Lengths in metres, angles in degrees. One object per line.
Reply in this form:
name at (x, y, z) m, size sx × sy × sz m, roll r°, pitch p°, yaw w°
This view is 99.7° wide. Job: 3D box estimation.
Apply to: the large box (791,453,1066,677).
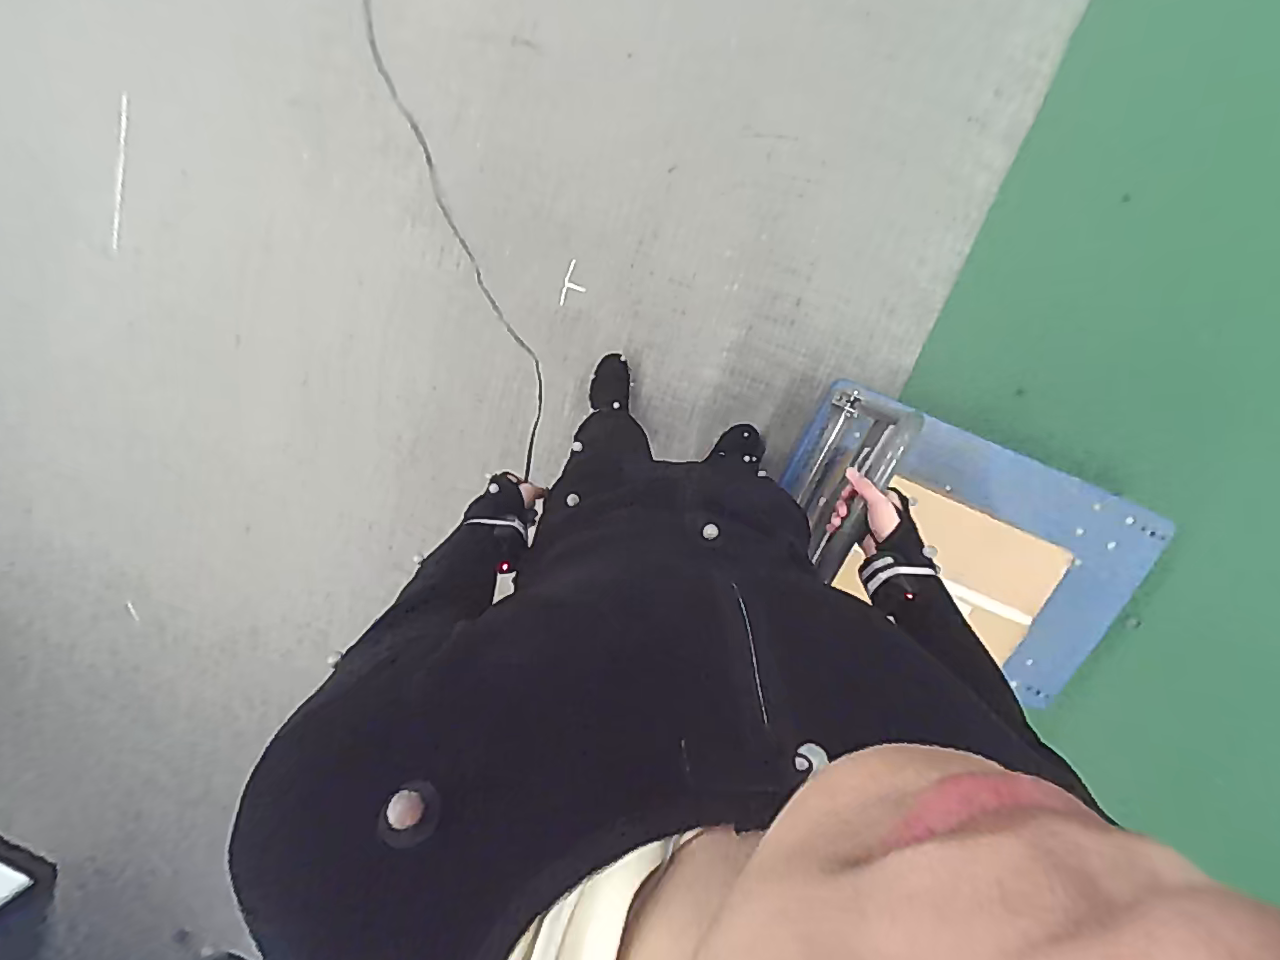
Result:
large box at (0.612, 0.167, 1.240) m, size 0.408 × 0.320 × 0.320 m, roll 25°, pitch 105°, yaw 3°
